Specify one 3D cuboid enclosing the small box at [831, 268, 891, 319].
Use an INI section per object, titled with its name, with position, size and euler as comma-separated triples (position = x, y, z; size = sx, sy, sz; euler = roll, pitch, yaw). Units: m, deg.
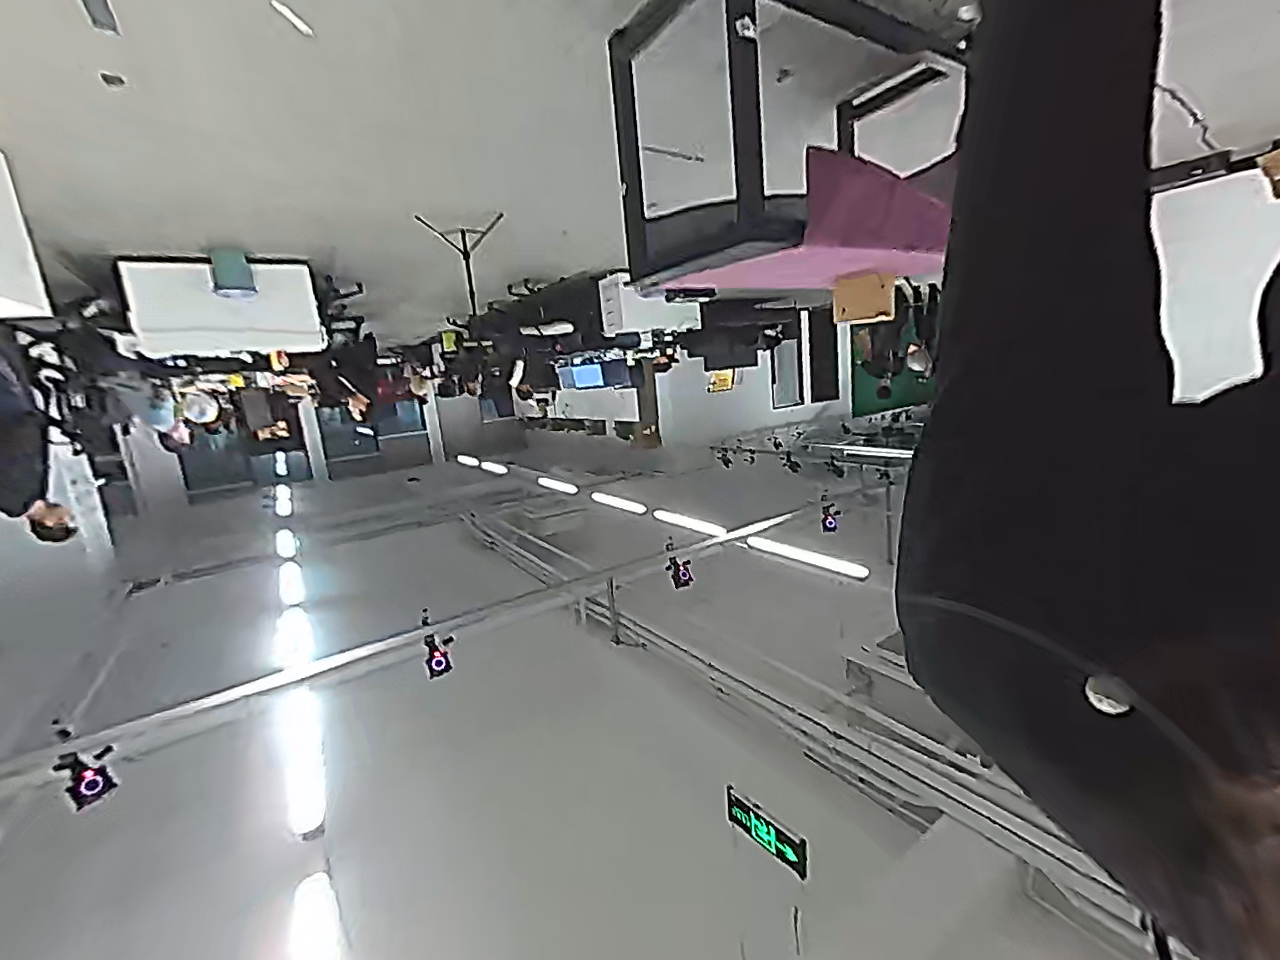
[small box]
position = 0.895, -0.751, 2.185
size = 0.168, 0.176, 0.179
euler = -14, -166, -34
